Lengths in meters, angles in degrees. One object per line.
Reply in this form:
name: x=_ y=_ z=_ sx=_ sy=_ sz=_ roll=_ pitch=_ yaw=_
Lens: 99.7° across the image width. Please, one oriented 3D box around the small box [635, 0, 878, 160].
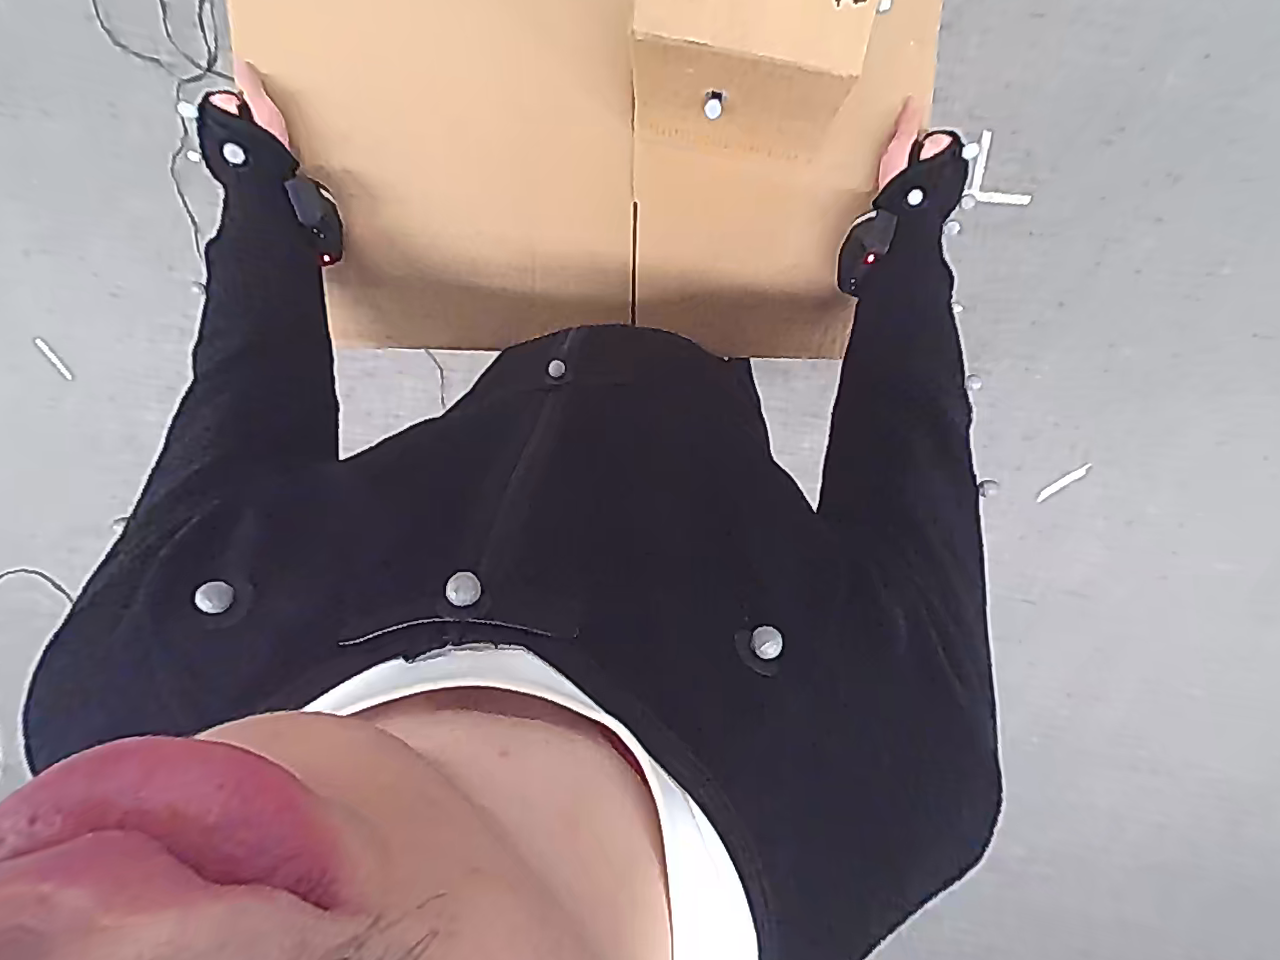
small box: x=0.101 y=-0.409 z=0.471 sx=0.179 sy=0.176 sz=0.168 roll=12 pitch=100 yaw=1
